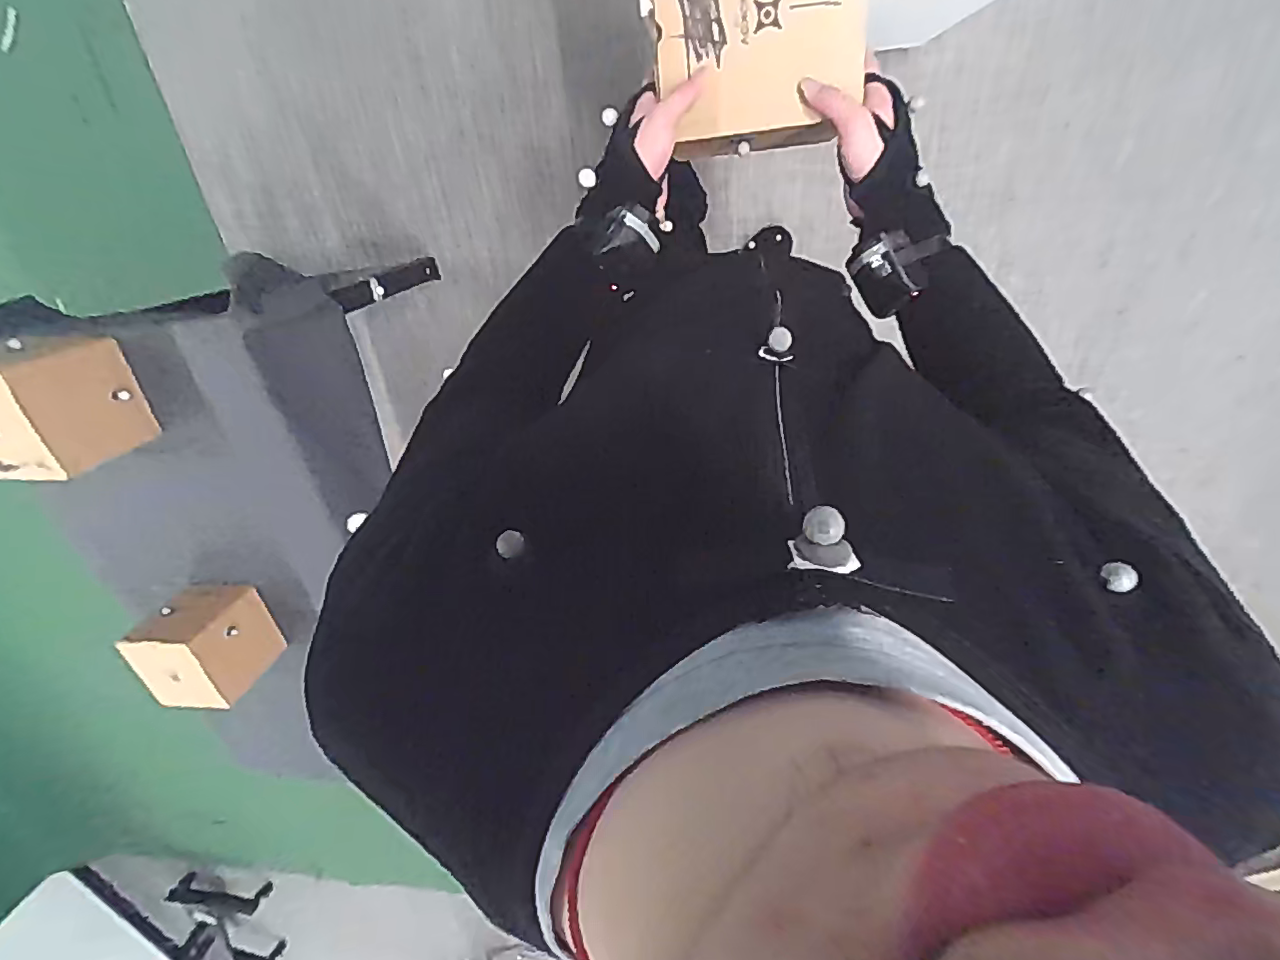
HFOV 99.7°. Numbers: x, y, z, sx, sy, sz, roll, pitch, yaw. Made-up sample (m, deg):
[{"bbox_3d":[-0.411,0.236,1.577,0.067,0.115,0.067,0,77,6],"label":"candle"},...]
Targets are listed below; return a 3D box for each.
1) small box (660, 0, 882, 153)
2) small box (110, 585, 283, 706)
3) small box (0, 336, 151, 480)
[{"bbox_3d":[0.114,-0.413,0.502,0.179,0.176,0.168,-1,117,9],"label":"small box"},{"bbox_3d":[-0.879,0.328,1.091,0.168,0.176,0.179,-2,121,10],"label":"small box"},{"bbox_3d":[-0.928,-0.117,0.830,0.168,0.176,0.179,1,120,6],"label":"small box"}]
